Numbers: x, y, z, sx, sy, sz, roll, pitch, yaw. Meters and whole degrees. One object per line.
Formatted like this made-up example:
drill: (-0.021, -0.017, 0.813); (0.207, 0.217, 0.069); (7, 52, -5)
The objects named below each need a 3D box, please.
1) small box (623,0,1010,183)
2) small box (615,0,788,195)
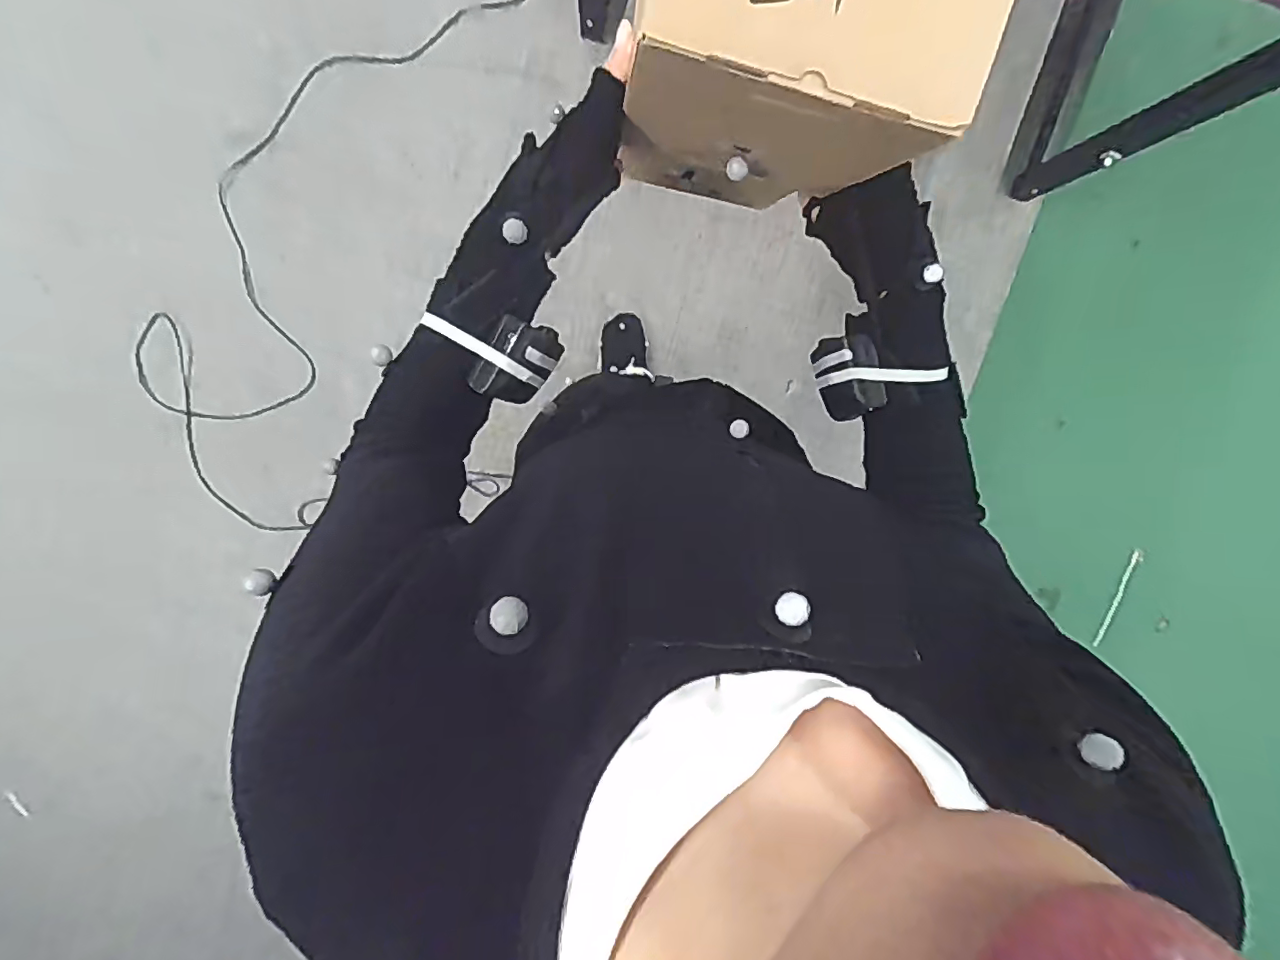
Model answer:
small box: (0.089, -0.293, 0.300); (0.168, 0.176, 0.179); (10, 108, -10)
small box: (0.076, -0.361, 0.450); (0.168, 0.176, 0.179); (8, 108, -10)
